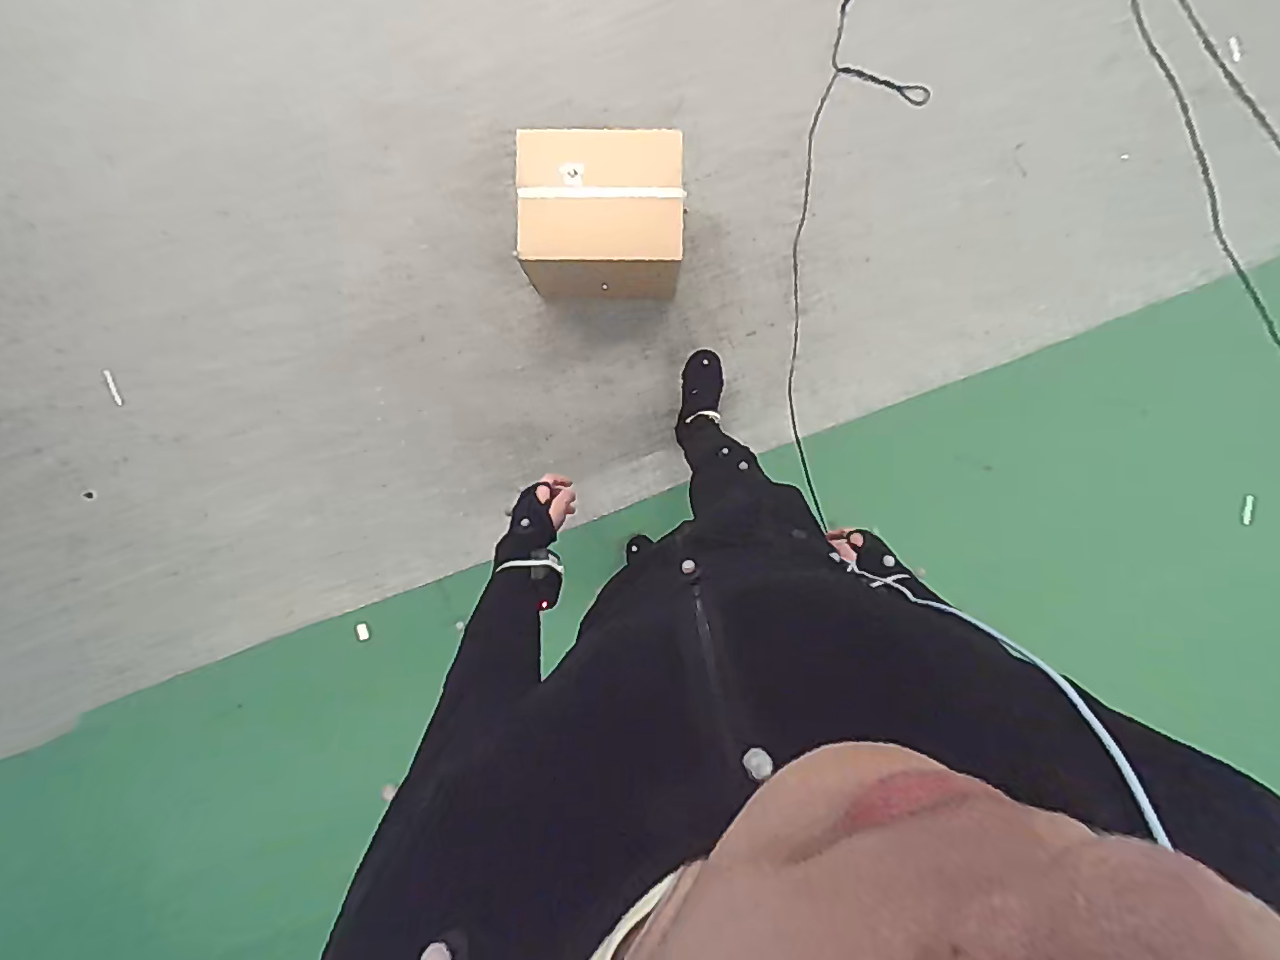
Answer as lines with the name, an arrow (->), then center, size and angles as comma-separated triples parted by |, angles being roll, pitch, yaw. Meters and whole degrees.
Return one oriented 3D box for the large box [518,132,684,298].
large box -> -0.091, -0.687, 1.455 | 0.408, 0.320, 0.320 | 0, 91, 1
